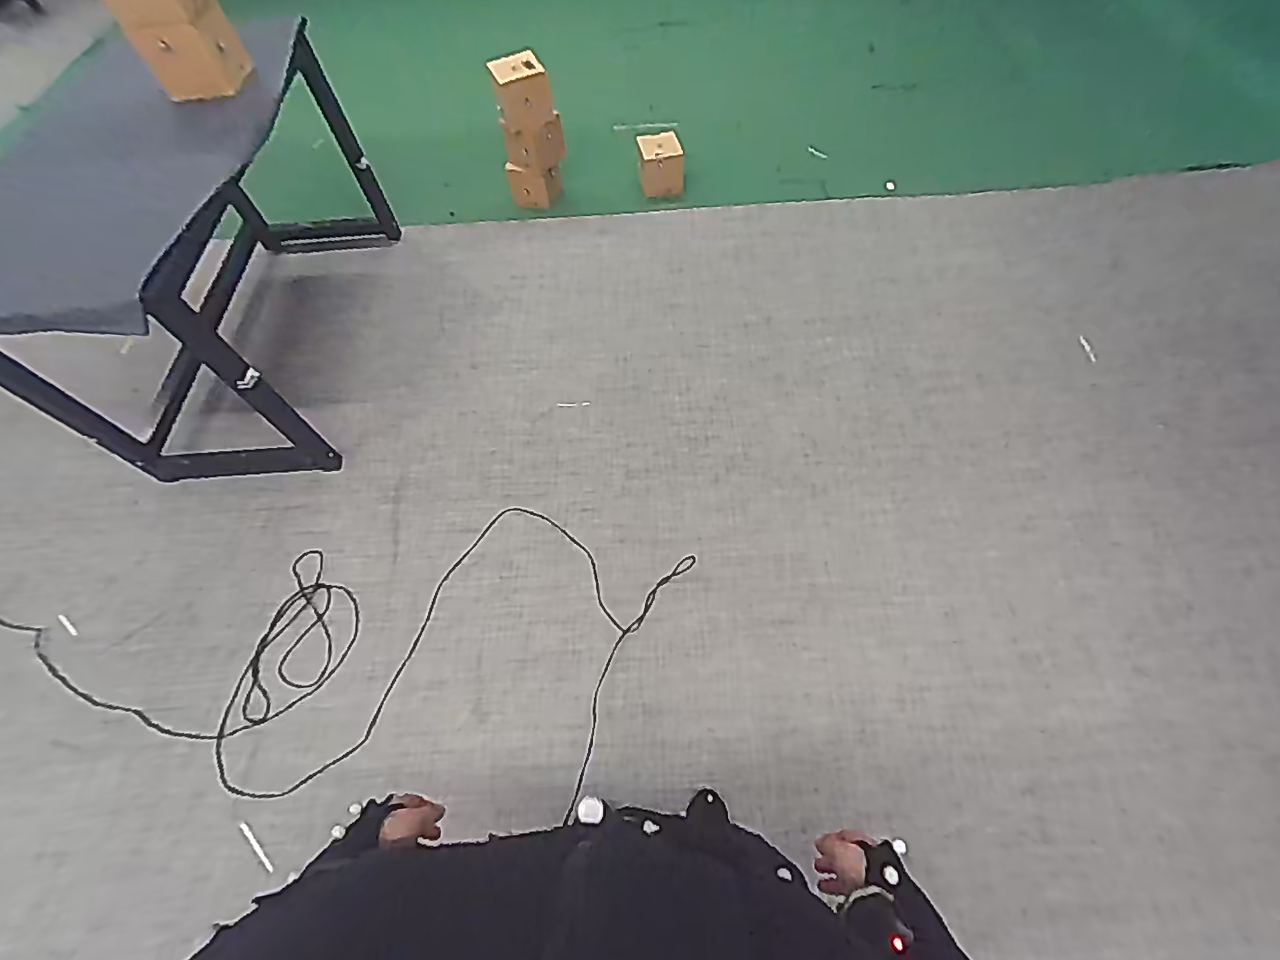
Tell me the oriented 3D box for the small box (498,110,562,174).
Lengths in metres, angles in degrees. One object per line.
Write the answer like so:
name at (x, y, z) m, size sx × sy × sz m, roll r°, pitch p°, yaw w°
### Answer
small box at (-0.430, -1.358, 2.155) m, size 0.168 × 0.176 × 0.179 m, roll 31°, pitch 66°, yaw 16°

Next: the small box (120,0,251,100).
small box at (-1.171, -1.128, 1.411) m, size 0.179 × 0.176 × 0.168 m, roll -4°, pitch 61°, yaw 2°

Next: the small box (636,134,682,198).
small box at (0.077, -1.336, 2.306) m, size 0.168 × 0.176 × 0.179 m, roll -11°, pitch 60°, yaw -4°

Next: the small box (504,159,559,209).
small box at (-0.456, -1.283, 2.300) m, size 0.168 × 0.176 × 0.179 m, roll 11°, pitch 62°, yaw 8°

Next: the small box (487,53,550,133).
small box at (-0.445, -1.438, 2.011) m, size 0.179 × 0.176 × 0.168 m, roll -24°, pitch 64°, yaw -10°
